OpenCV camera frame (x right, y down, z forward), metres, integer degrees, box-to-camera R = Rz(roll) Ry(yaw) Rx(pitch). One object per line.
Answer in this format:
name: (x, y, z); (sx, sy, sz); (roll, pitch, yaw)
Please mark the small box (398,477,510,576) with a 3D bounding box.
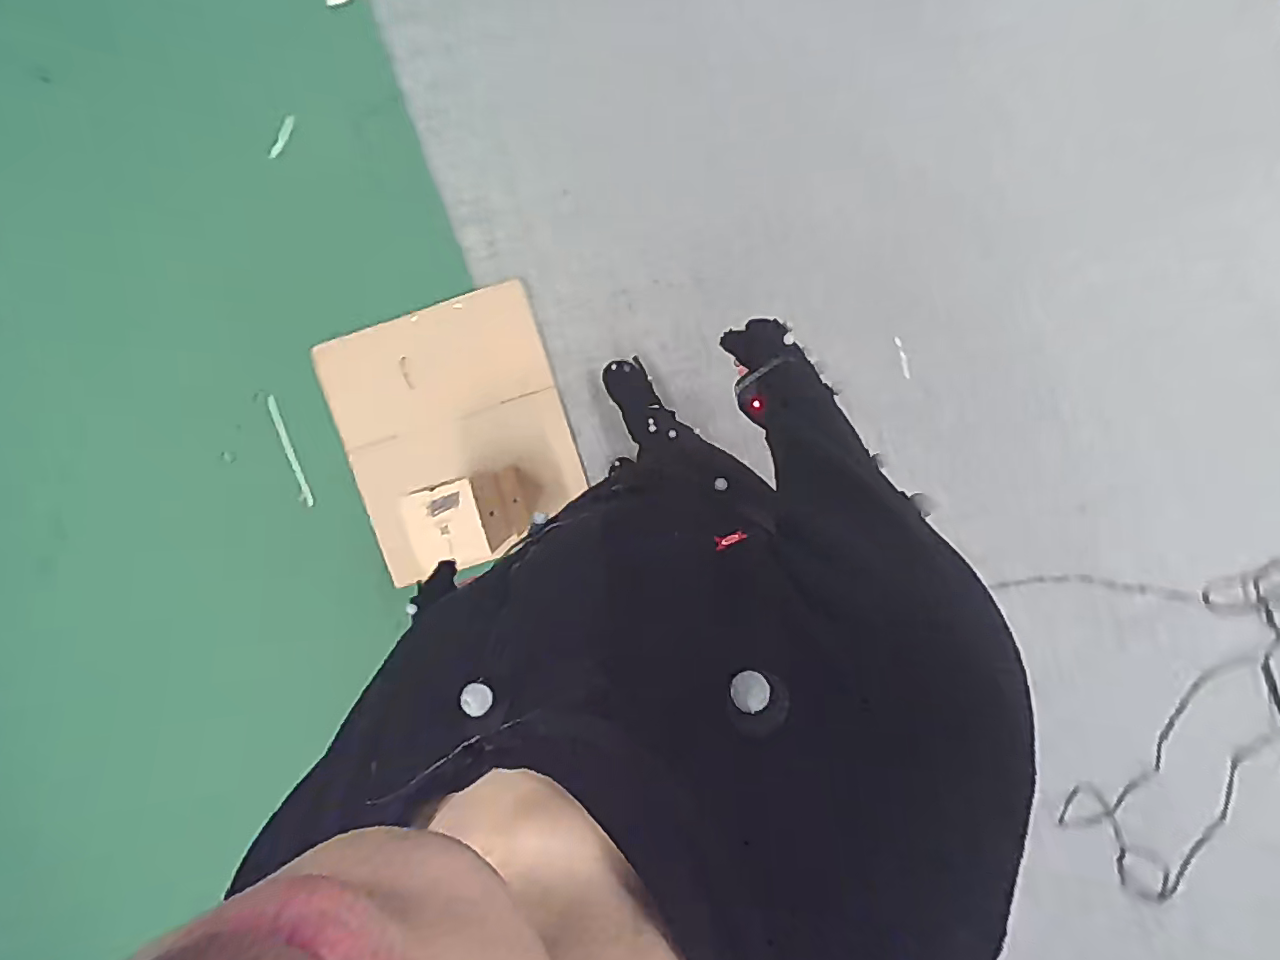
small box: (-0.413, 0.096, 1.229); (0.168, 0.176, 0.179); (-15, 98, 3)
